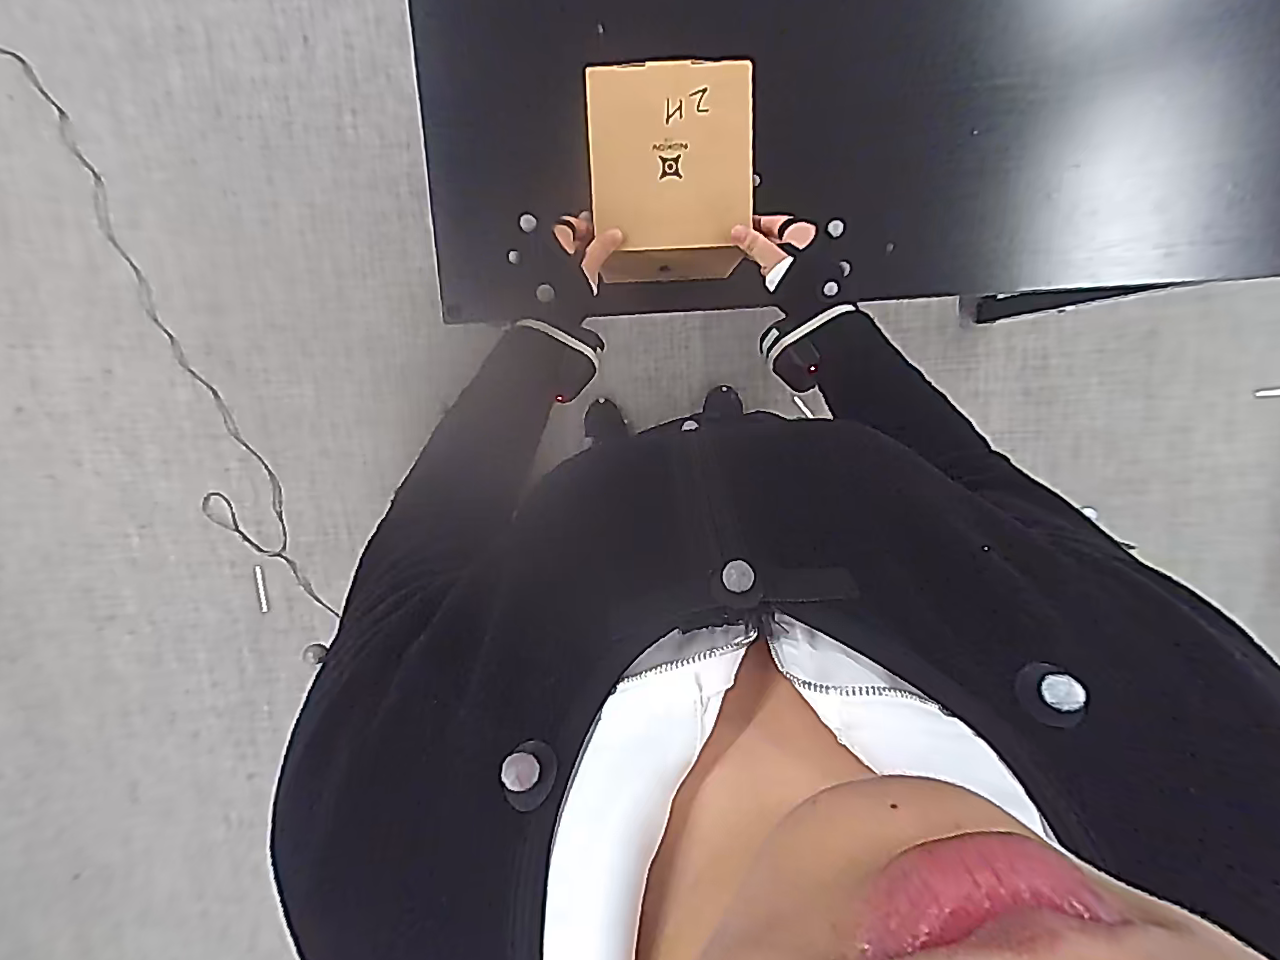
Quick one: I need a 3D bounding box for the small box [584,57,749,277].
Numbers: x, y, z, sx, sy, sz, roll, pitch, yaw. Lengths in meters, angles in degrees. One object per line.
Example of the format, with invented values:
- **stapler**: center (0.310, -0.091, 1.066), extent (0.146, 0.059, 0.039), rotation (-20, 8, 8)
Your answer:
- **small box**: center (0.030, -0.339, 0.624), extent (0.168, 0.176, 0.179), rotation (-3, 99, 1)
